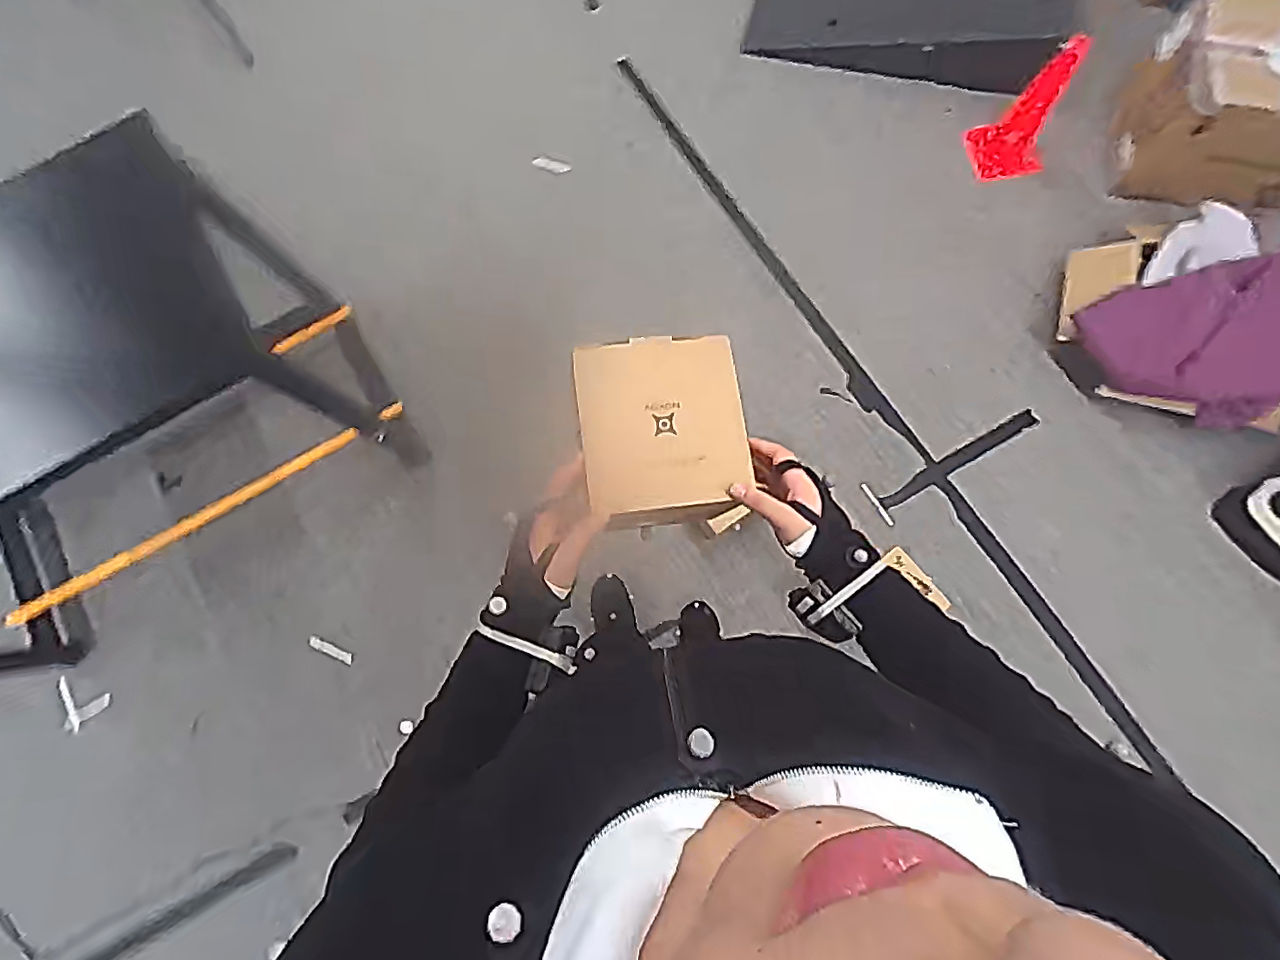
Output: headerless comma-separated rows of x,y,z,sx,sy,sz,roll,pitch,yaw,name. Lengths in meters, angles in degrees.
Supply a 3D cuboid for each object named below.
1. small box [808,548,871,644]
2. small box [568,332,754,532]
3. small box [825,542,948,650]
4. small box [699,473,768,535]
0.567,0.297,1.402,0.168,0.176,0.179,-36,79,-5,small box
0.009,-0.045,0.607,0.168,0.176,0.179,-7,80,-9,small box
0.550,0.266,1.242,0.179,0.176,0.168,-38,79,-4,small box
0.219,0.033,1.474,0.168,0.176,0.179,-33,79,-4,small box
